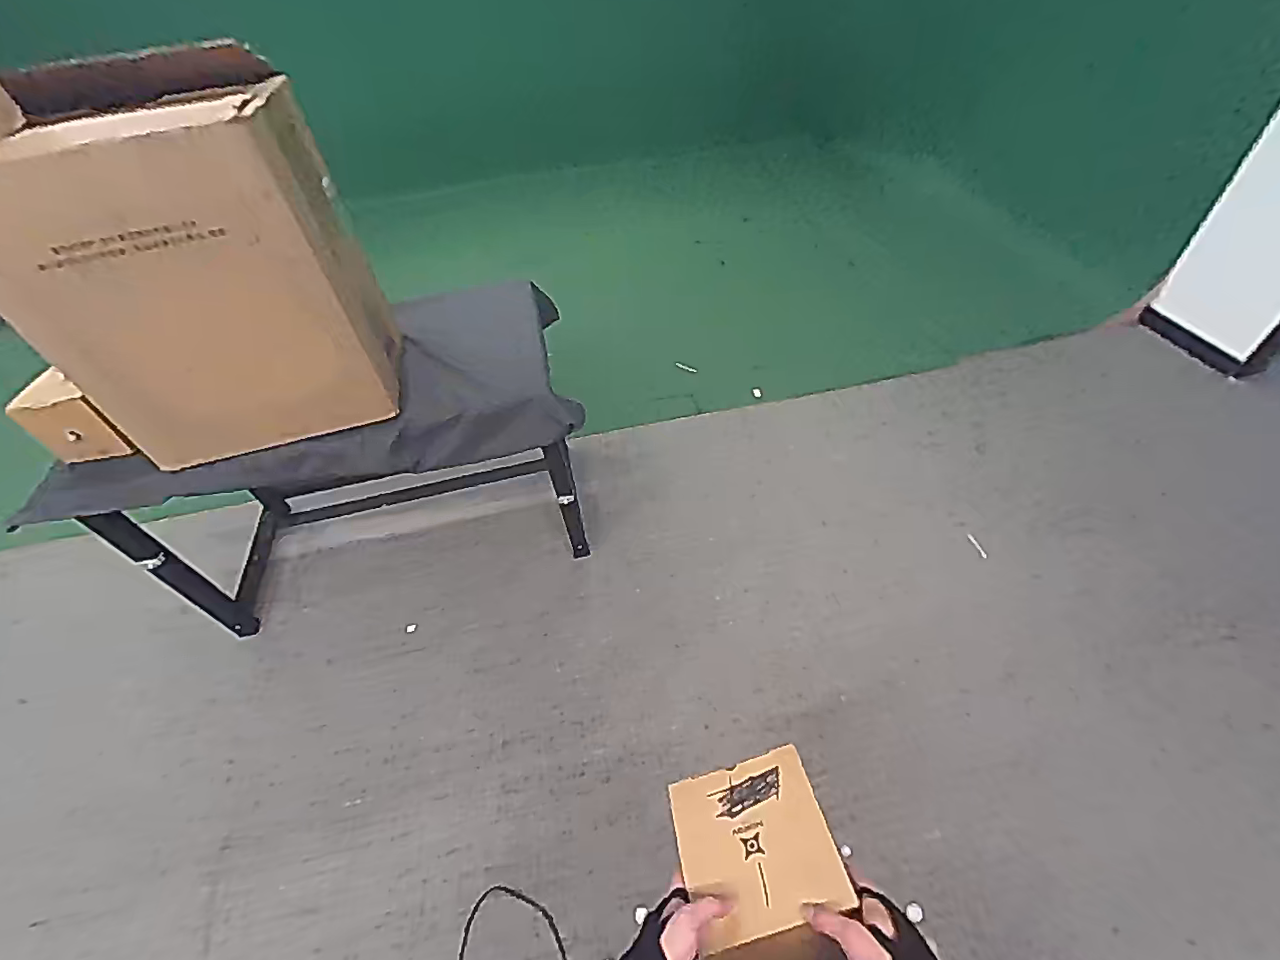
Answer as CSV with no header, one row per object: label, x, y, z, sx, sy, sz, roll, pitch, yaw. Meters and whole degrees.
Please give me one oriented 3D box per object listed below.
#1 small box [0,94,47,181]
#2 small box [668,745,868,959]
small box,-1.098,-0.553,0.830,0.168,0.176,0.179,-15,46,-6
small box,0.145,0.460,0.638,0.168,0.176,0.179,-21,29,5
